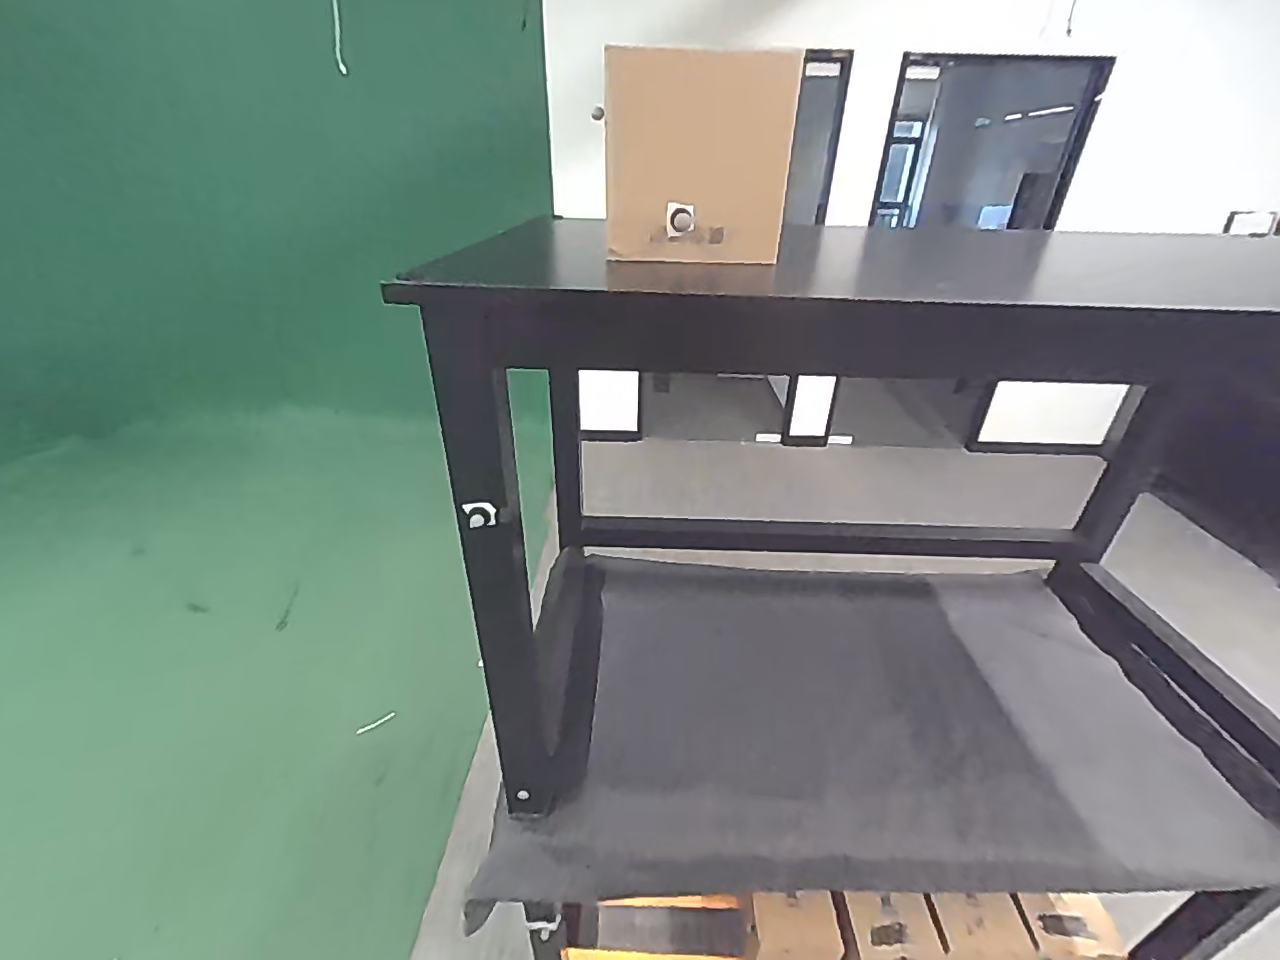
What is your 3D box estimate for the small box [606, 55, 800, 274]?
[{"bbox_3d":[0.049,-0.319,0.562,0.168,0.176,0.179,-1,30,-2],"label":"small box"}]
